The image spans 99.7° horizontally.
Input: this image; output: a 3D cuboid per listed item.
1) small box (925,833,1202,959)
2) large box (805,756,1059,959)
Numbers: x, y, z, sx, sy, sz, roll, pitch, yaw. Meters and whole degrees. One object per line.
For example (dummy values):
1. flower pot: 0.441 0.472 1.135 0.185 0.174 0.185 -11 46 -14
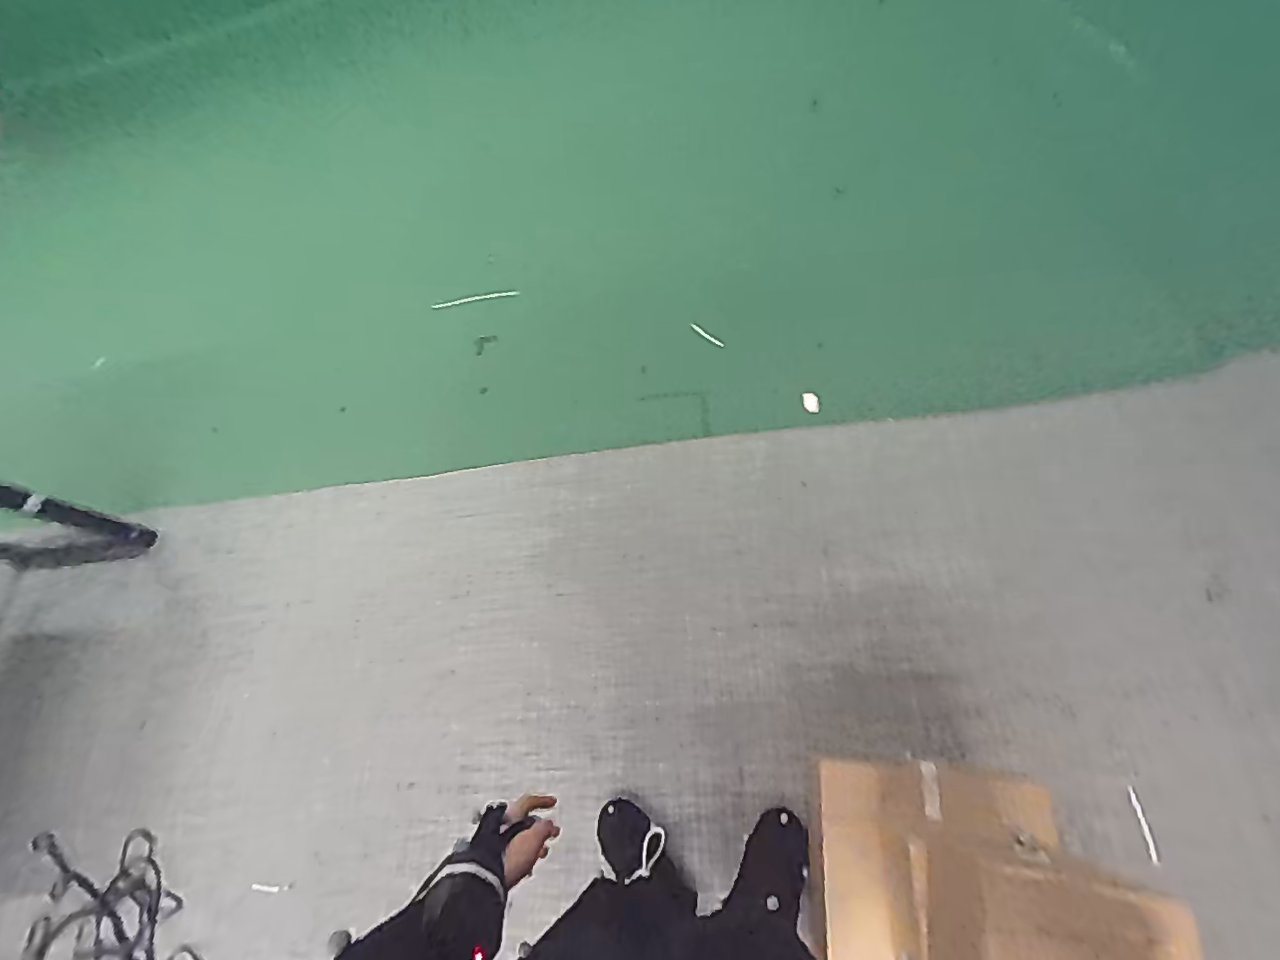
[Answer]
1. small box: 0.384 0.466 0.512 0.168 0.176 0.179 5 67 13
2. large box: 0.442 0.680 0.858 0.320 0.320 0.408 0 67 13
